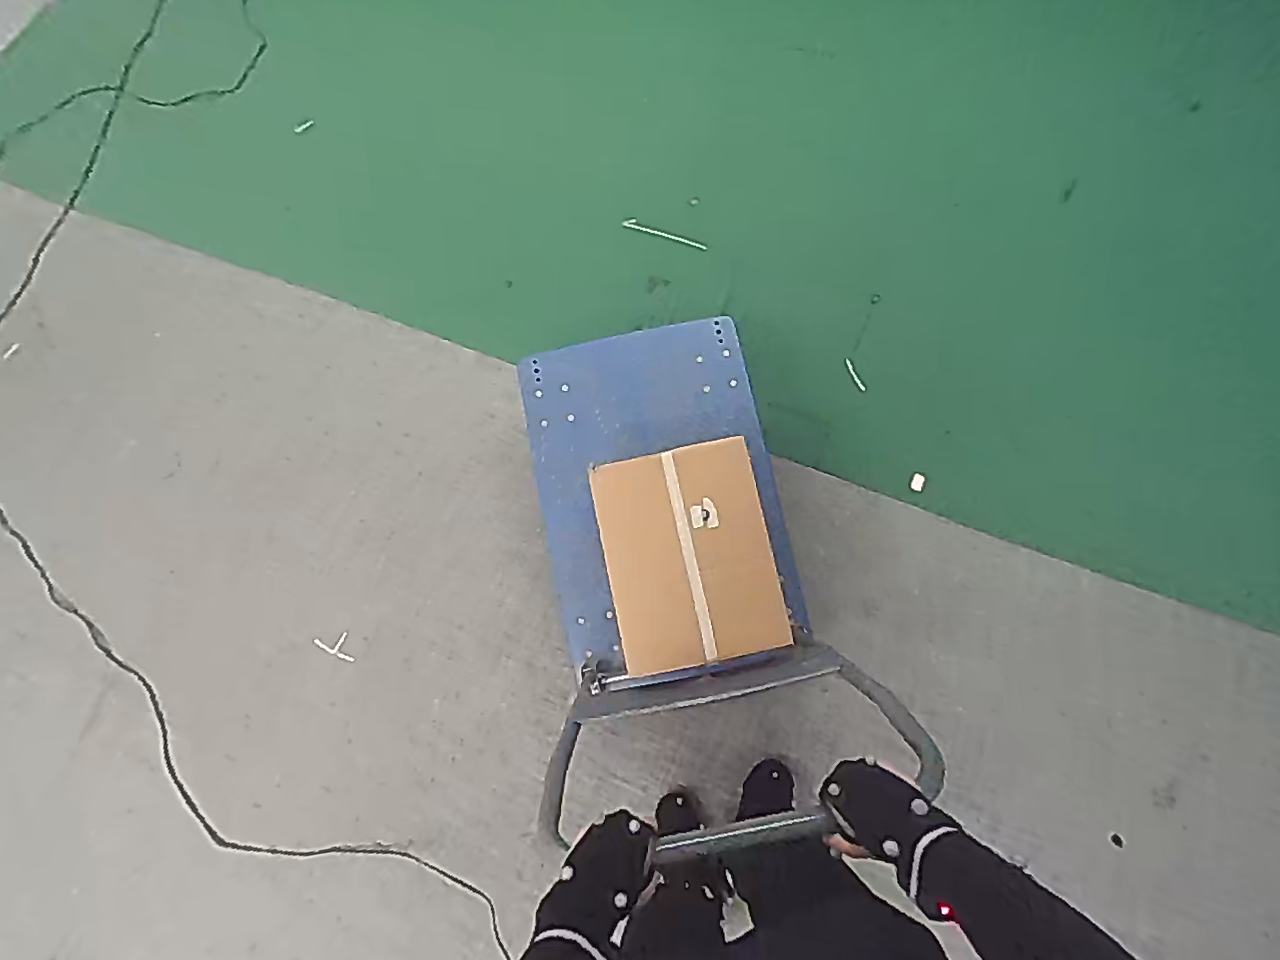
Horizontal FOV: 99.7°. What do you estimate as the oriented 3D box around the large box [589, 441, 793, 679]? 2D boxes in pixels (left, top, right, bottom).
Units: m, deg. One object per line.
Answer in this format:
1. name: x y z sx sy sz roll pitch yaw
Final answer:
1. large box: 0.098 0.169 1.174 0.320 0.320 0.408 -13 81 -1
